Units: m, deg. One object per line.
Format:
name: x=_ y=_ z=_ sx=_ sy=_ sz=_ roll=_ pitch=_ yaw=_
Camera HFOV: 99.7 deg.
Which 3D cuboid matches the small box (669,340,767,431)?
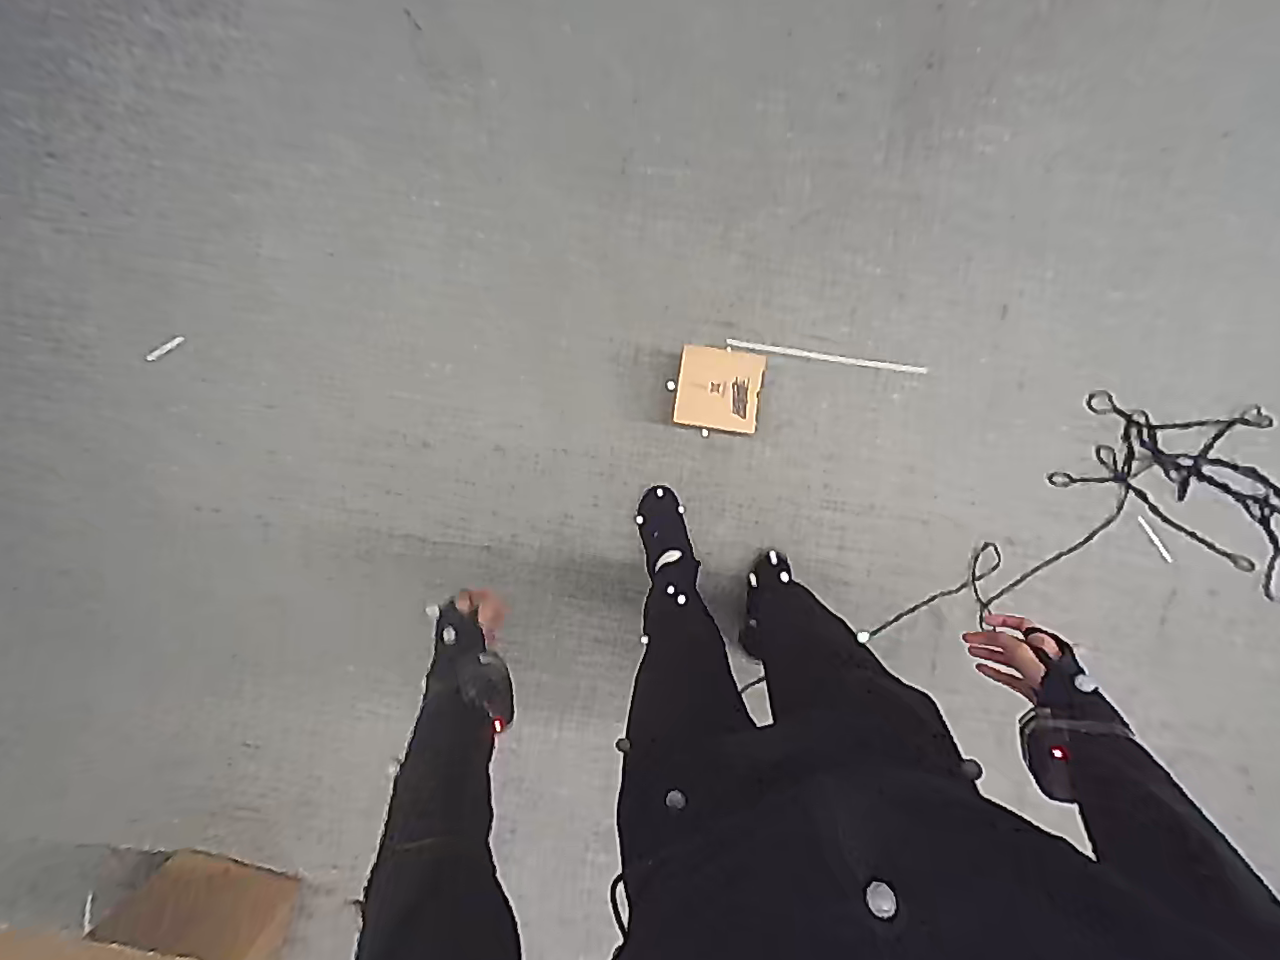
small box: x=0.165 y=-0.201 z=1.201 sx=0.179 sy=0.176 sz=0.168 roll=9 pitch=93 yaw=0
